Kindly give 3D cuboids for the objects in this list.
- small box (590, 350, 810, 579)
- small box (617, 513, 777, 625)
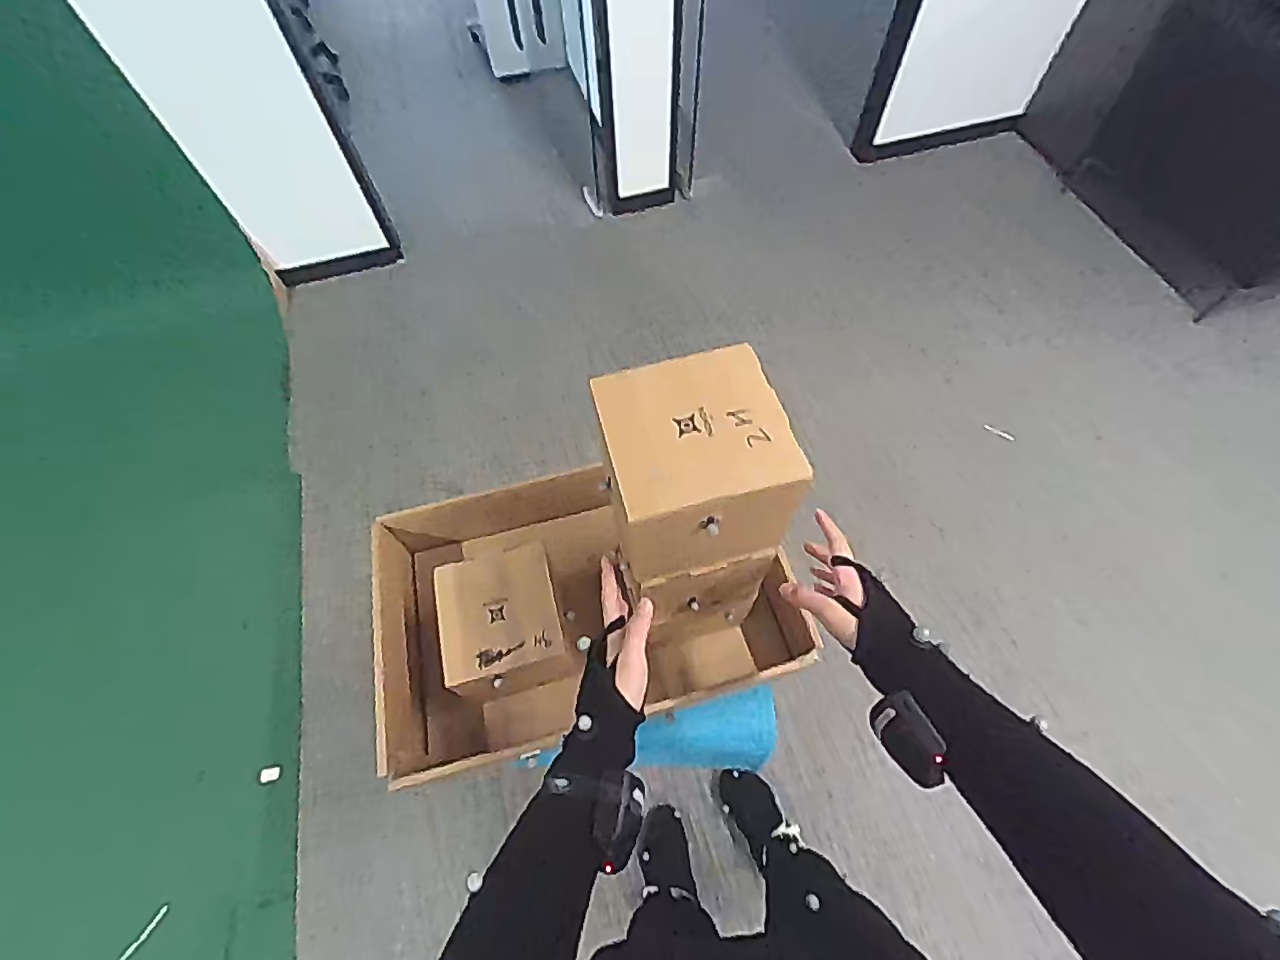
[{"bbox_3d":[0.055,-0.009,0.584,0.179,0.176,0.168,-13,61,-5],"label":"small box"},{"bbox_3d":[0.062,0.074,0.727,0.168,0.176,0.179,-13,61,-5],"label":"small box"}]
